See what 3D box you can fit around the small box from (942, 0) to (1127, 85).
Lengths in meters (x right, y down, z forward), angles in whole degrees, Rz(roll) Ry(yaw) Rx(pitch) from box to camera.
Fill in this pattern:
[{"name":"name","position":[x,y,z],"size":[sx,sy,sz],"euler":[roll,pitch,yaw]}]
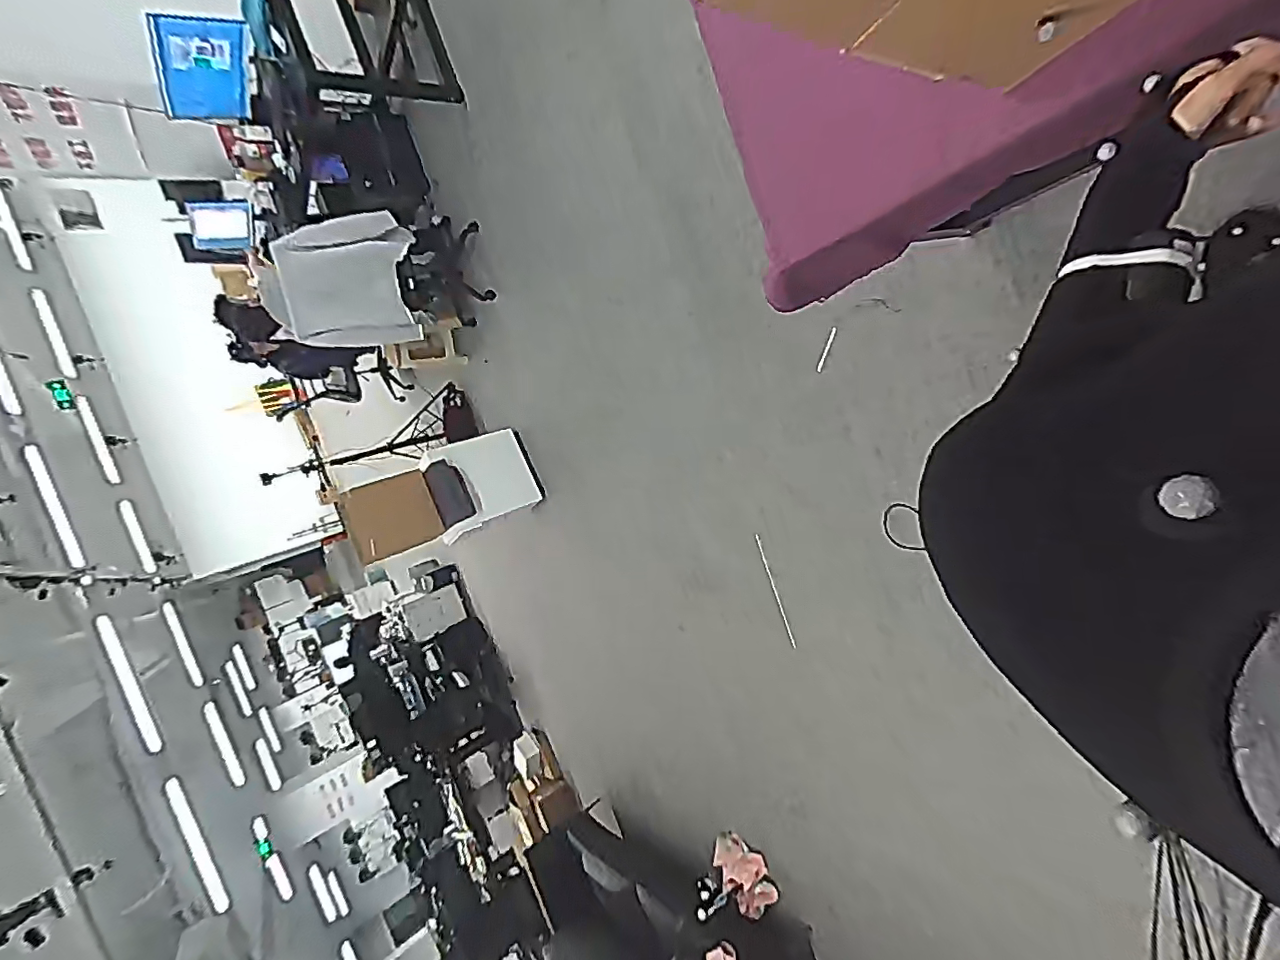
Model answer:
[{"name":"small box","position":[0.359,-0.504,0.493],"size":[0.179,0.176,0.168],"euler":[-18,93,55]}]

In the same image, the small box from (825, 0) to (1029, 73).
[{"name":"small box","position":[0.236,-0.450,0.401],"size":[0.179,0.176,0.168],"euler":[-18,92,54]}]

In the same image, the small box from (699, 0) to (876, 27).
[{"name":"small box","position":[0.113,-0.405,0.304],"size":[0.168,0.176,0.179],"euler":[-14,95,53]}]
